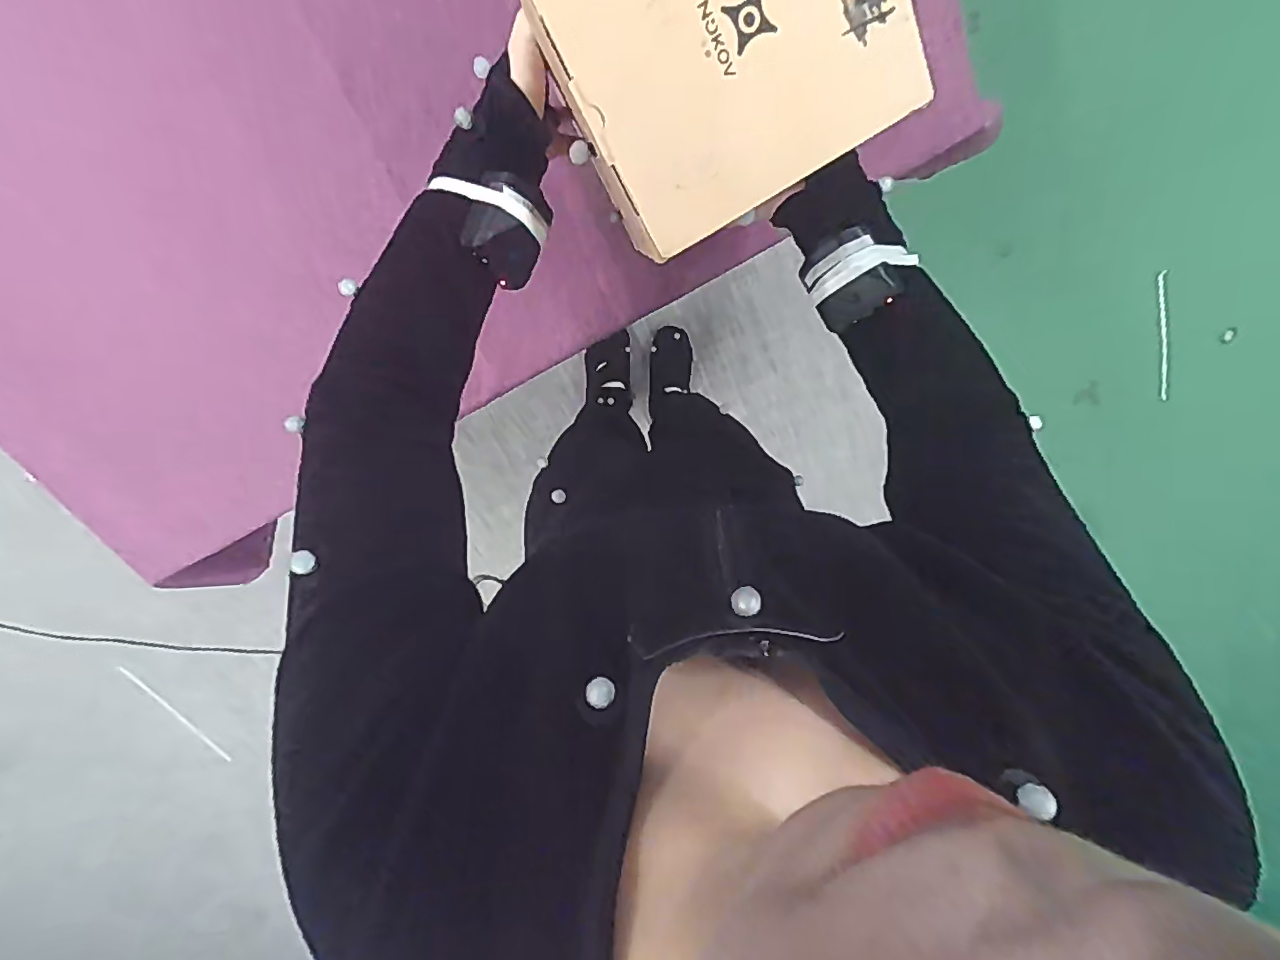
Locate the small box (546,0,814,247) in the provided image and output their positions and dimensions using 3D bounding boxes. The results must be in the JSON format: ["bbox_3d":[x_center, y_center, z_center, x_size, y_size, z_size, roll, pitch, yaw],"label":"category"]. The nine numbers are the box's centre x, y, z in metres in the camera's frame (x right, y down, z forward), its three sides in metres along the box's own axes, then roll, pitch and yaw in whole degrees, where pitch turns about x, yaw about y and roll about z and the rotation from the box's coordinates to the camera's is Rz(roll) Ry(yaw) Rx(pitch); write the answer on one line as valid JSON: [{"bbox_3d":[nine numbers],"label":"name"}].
[{"bbox_3d":[0.032,-0.341,0.510,0.168,0.176,0.179,-28,113,9],"label":"small box"}]

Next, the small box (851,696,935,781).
[{"bbox_3d":[0.865,0.884,1.864,0.179,0.176,0.168,-35,110,11],"label":"small box"}]
